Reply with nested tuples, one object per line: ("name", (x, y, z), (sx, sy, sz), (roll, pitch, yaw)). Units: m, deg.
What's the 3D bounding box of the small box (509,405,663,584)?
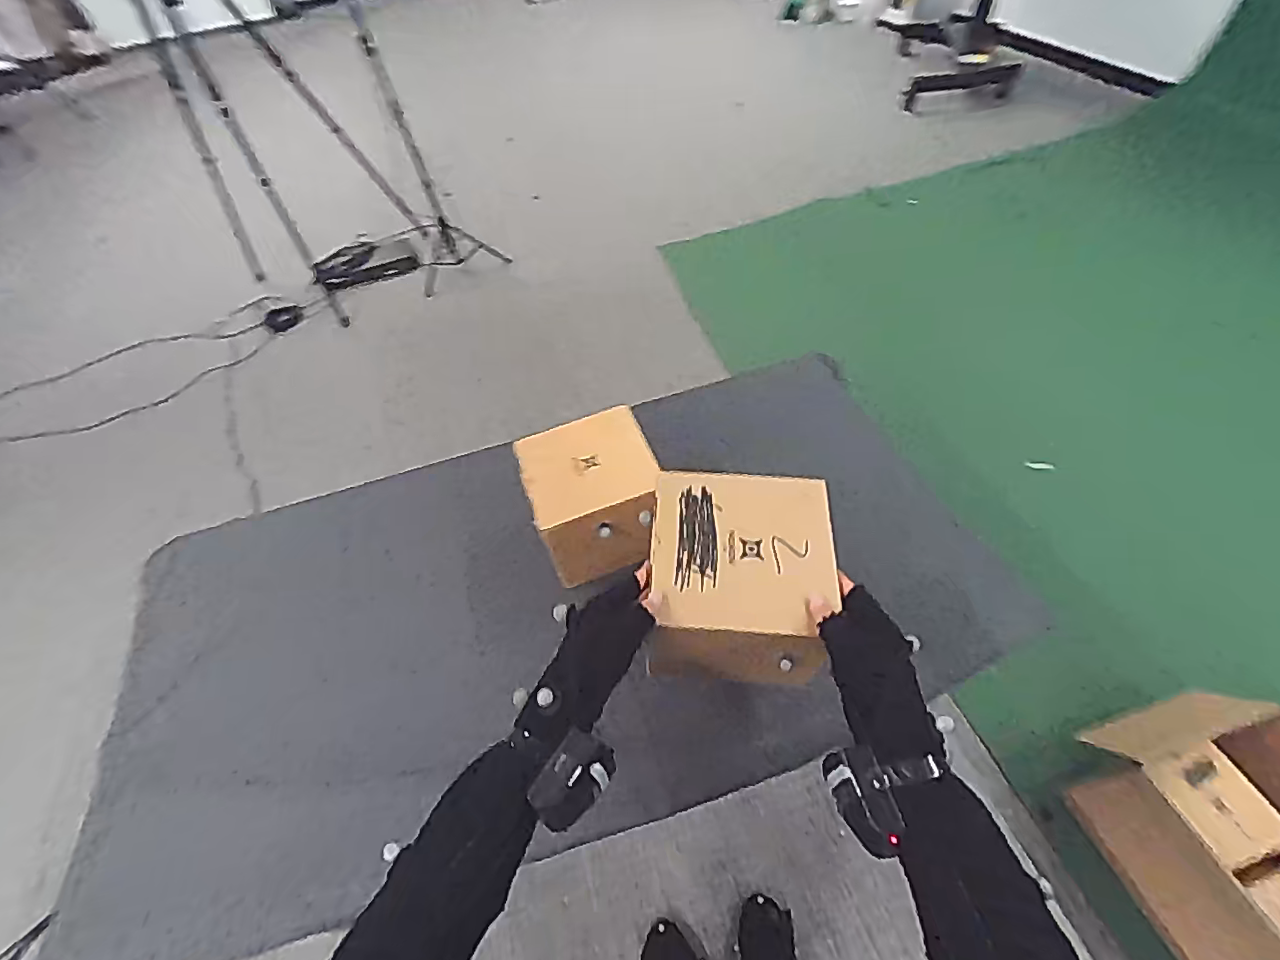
("small box", (-0.071, 0.025, 0.799), (0.179, 0.176, 0.168), (-21, 54, -7))
